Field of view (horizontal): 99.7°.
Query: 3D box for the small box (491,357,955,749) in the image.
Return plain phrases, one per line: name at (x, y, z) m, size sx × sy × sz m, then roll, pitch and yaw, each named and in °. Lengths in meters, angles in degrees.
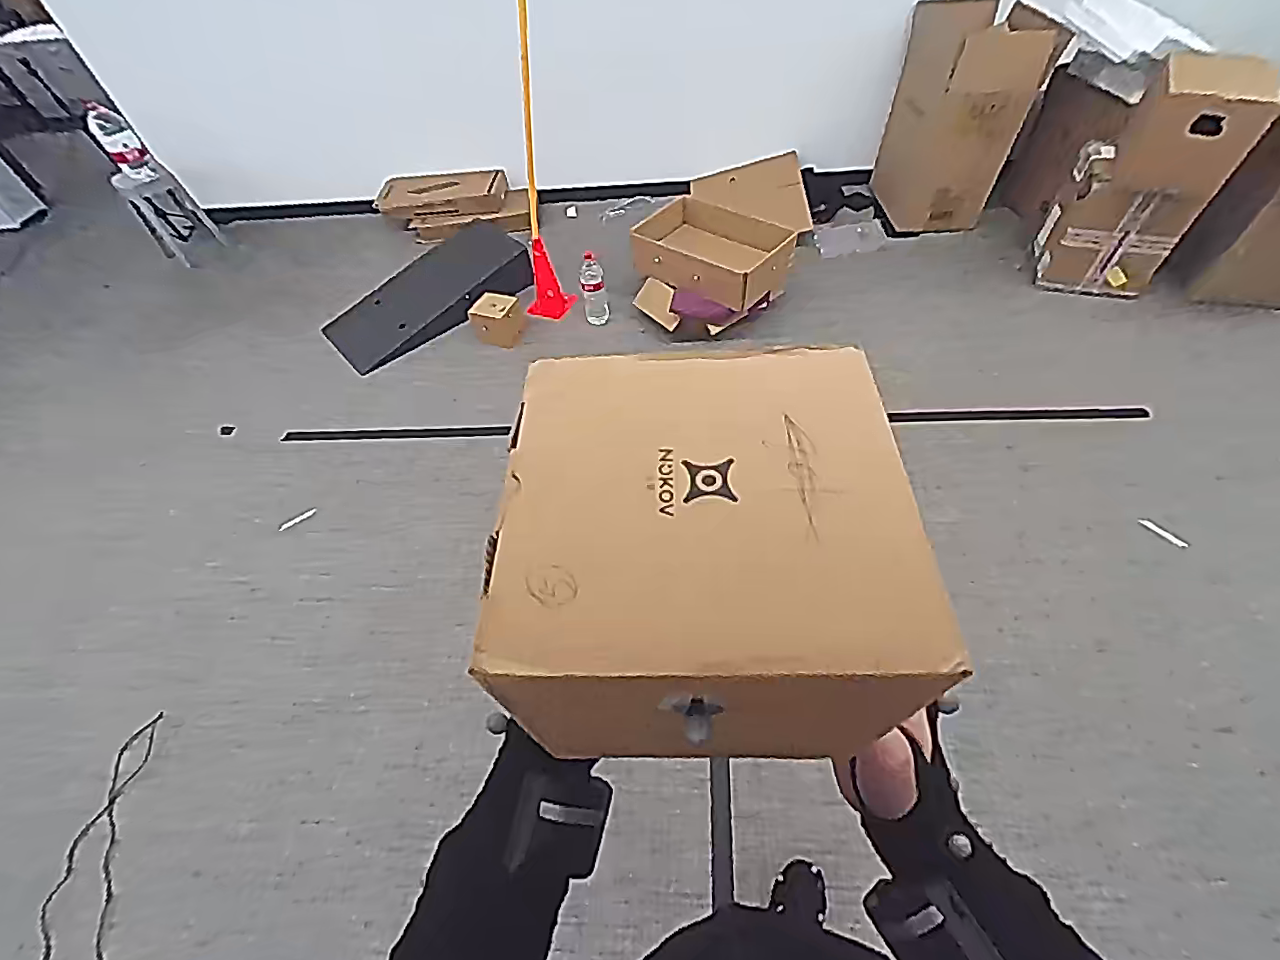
small box at (0.035, 0.051, 0.310) m, size 0.179 × 0.176 × 0.168 m, roll -2°, pitch 54°, yaw 2°
